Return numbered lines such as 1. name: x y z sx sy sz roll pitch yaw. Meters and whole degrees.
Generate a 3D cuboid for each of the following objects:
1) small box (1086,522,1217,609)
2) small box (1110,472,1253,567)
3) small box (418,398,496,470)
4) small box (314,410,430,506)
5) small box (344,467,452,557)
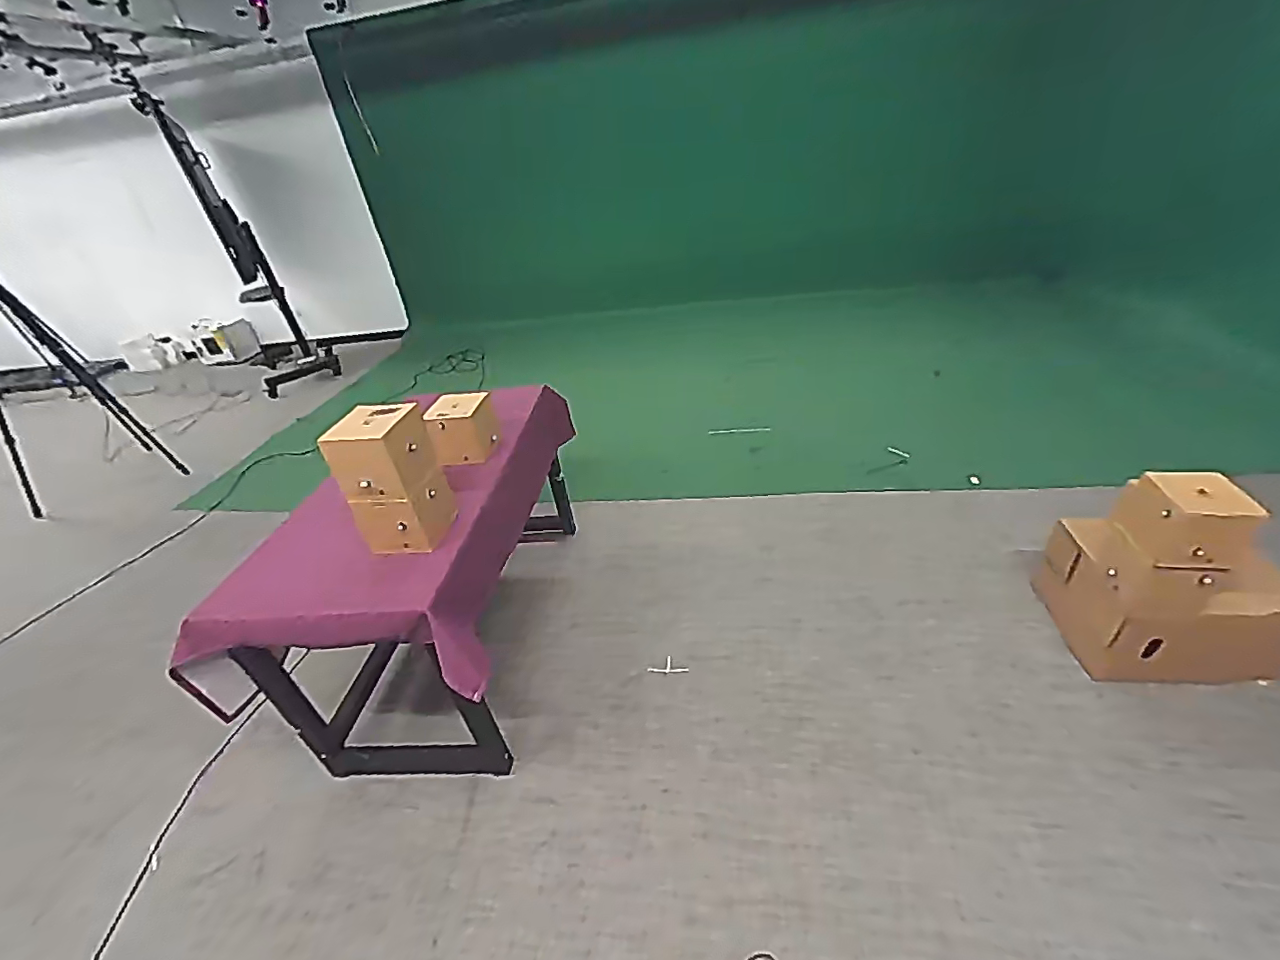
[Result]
1. small box: 1.365 0.231 1.458 0.179 0.176 0.168 -1 34 11
2. small box: 1.348 0.098 1.366 0.168 0.176 0.179 0 35 11
3. small box: -0.581 -0.147 1.738 0.168 0.176 0.179 -4 33 9
4. small box: -0.631 -0.054 1.304 0.168 0.176 0.179 -2 34 9
5. small box: -0.608 0.085 1.388 0.168 0.176 0.179 -2 33 10
